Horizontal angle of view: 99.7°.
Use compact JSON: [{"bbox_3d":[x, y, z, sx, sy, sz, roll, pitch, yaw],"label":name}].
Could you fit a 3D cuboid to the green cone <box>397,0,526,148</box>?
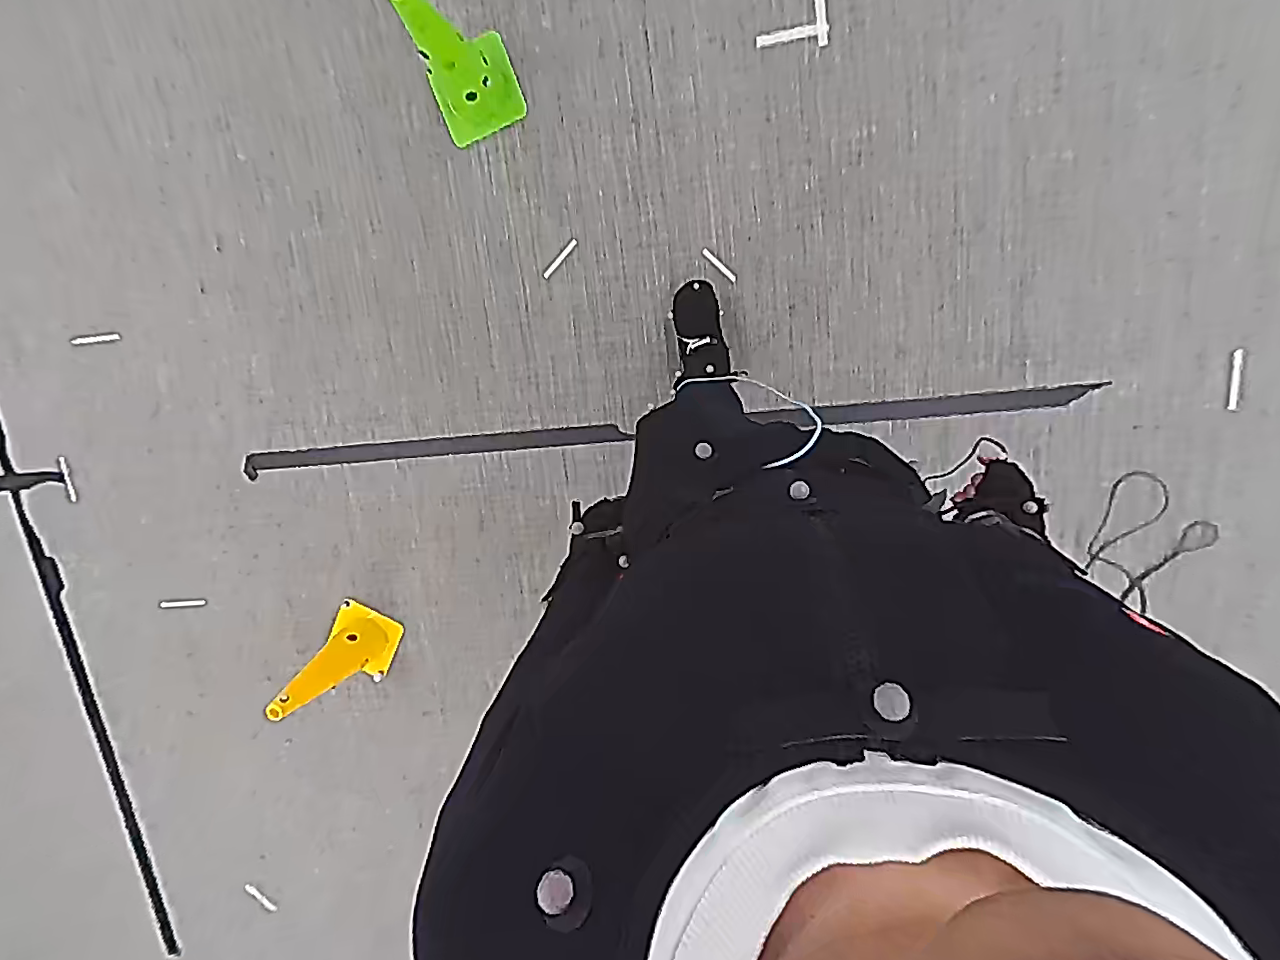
[{"bbox_3d":[-0.408,-0.895,1.126,0.202,0.368,0.200,-21,98,8],"label":"green cone"}]
